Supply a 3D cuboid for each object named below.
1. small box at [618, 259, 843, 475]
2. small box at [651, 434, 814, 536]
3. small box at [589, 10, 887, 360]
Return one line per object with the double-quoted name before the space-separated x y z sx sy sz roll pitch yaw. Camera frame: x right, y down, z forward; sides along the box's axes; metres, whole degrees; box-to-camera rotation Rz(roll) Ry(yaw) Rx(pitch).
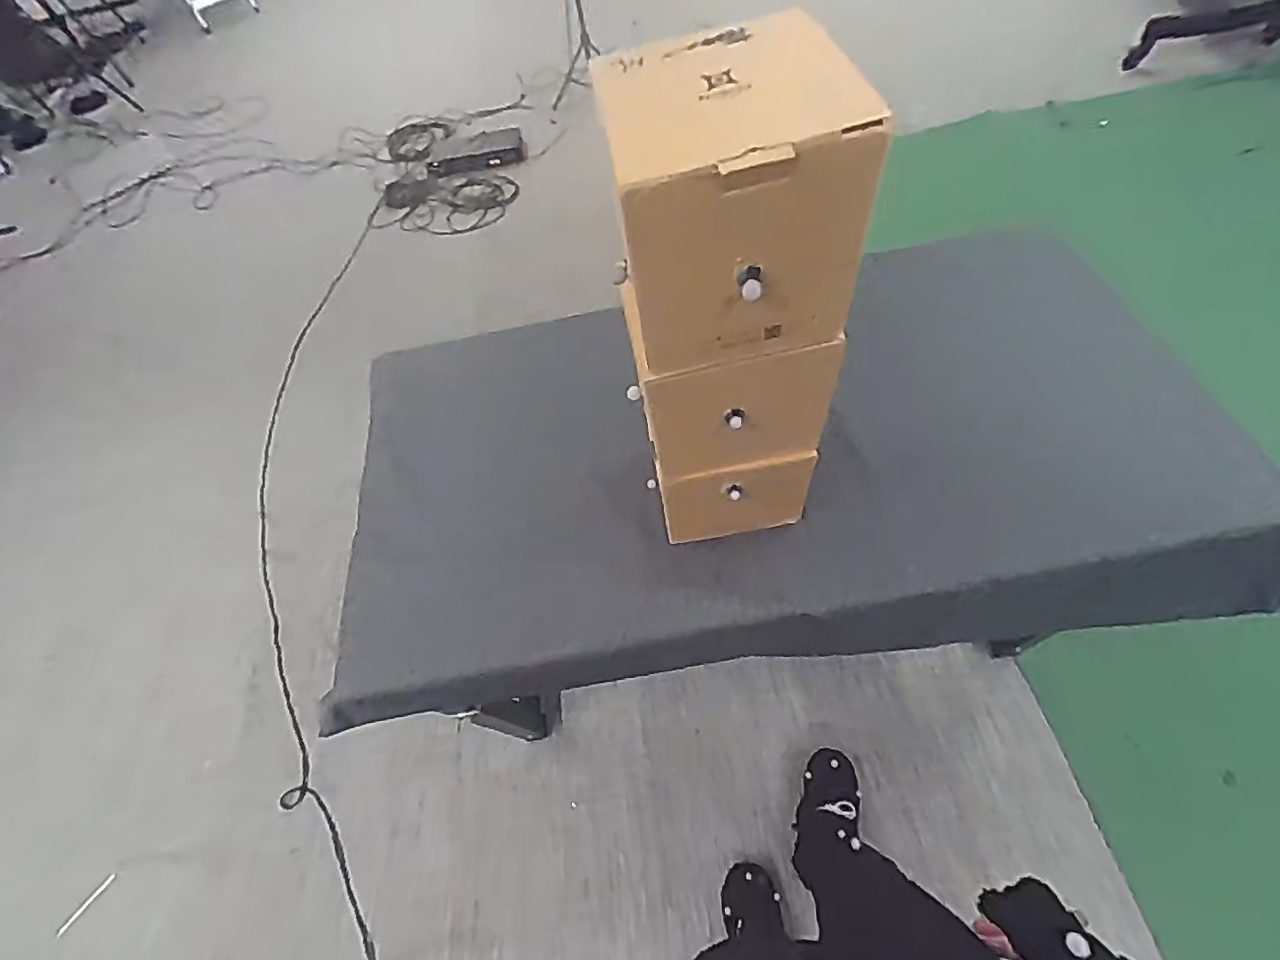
"small box" 0.085 -0.126 0.563 0.179 0.176 0.168 -12 60 3
"small box" 0.106 -0.041 0.702 0.179 0.176 0.168 -10 60 1
"small box" 0.065 -0.214 0.427 0.168 0.176 0.179 -11 60 2
